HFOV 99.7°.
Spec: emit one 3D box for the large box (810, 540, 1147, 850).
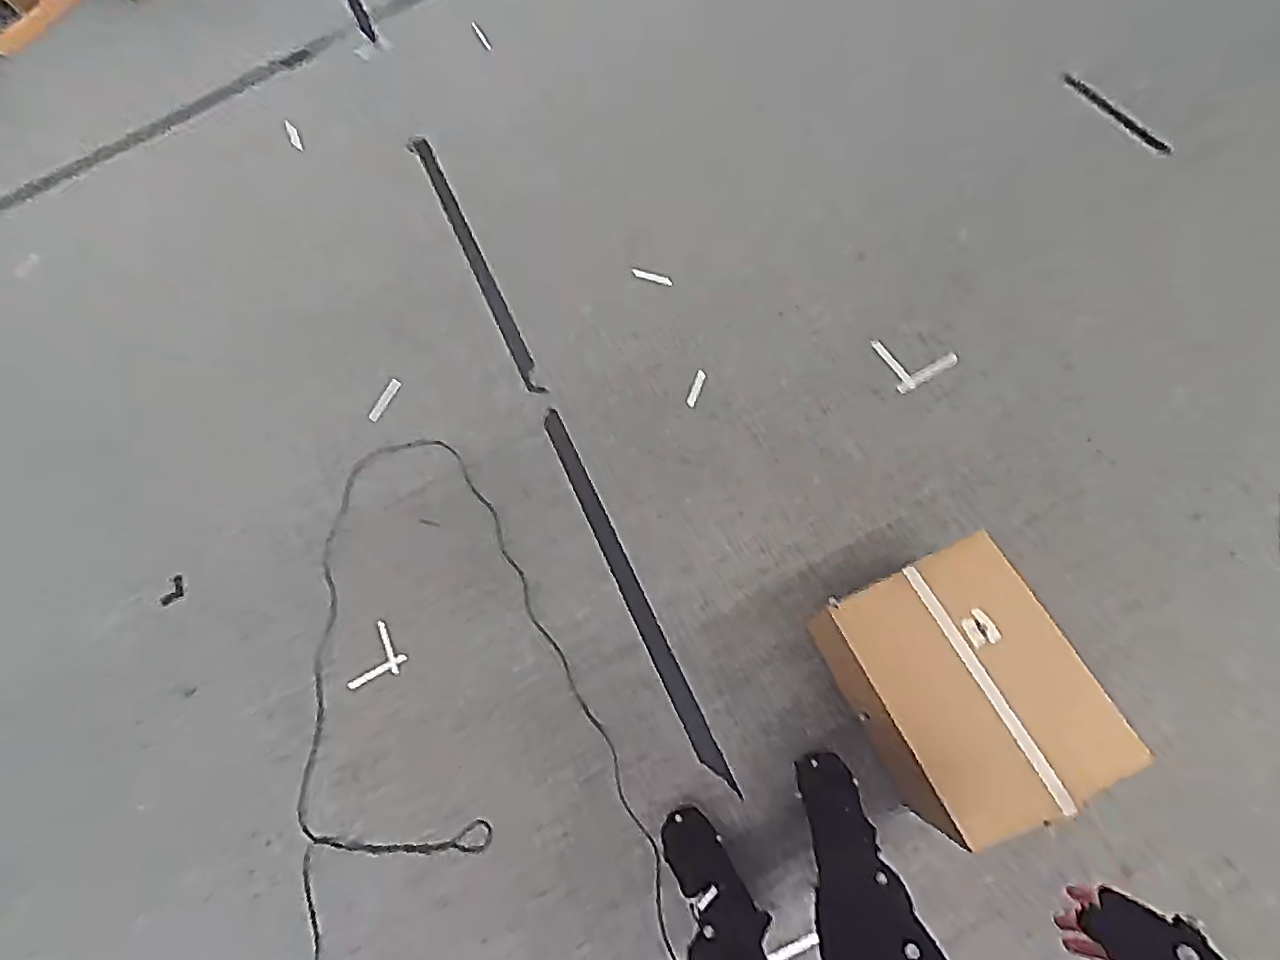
[{"bbox_3d":[0.580,0.386,1.031,0.320,0.320,0.408,-26,68,-2],"label":"large box"}]
